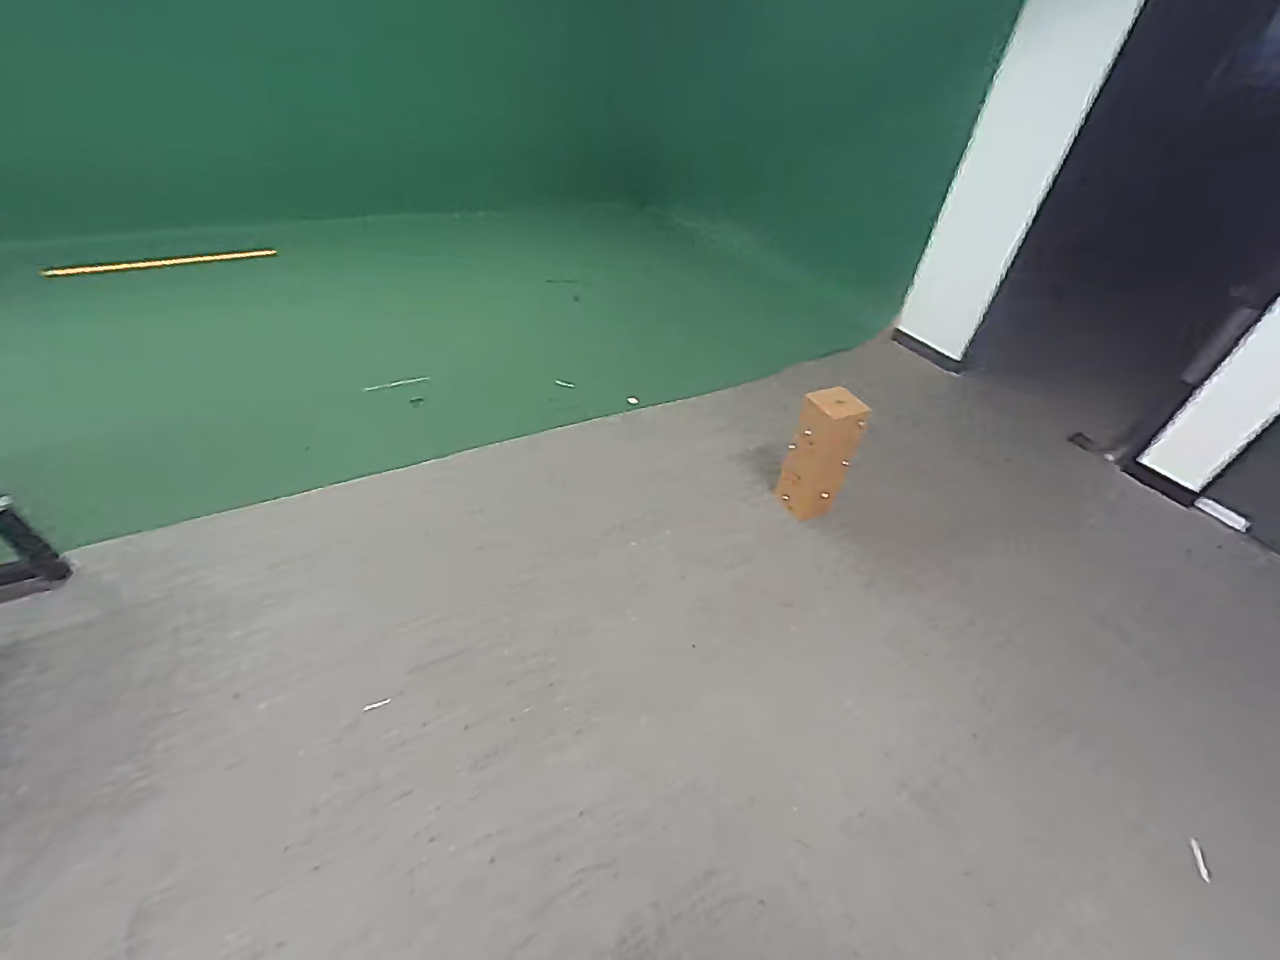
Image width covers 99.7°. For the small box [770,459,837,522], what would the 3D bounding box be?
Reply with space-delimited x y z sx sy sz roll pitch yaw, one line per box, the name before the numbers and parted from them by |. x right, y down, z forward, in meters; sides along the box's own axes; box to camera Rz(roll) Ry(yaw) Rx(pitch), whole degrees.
small box | 0.657 0.043 2.194 0.179 0.176 0.168 -17 46 -23

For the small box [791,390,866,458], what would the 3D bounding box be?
small box | 0.682 -0.202 1.977 0.179 0.176 0.168 -14 45 -21
